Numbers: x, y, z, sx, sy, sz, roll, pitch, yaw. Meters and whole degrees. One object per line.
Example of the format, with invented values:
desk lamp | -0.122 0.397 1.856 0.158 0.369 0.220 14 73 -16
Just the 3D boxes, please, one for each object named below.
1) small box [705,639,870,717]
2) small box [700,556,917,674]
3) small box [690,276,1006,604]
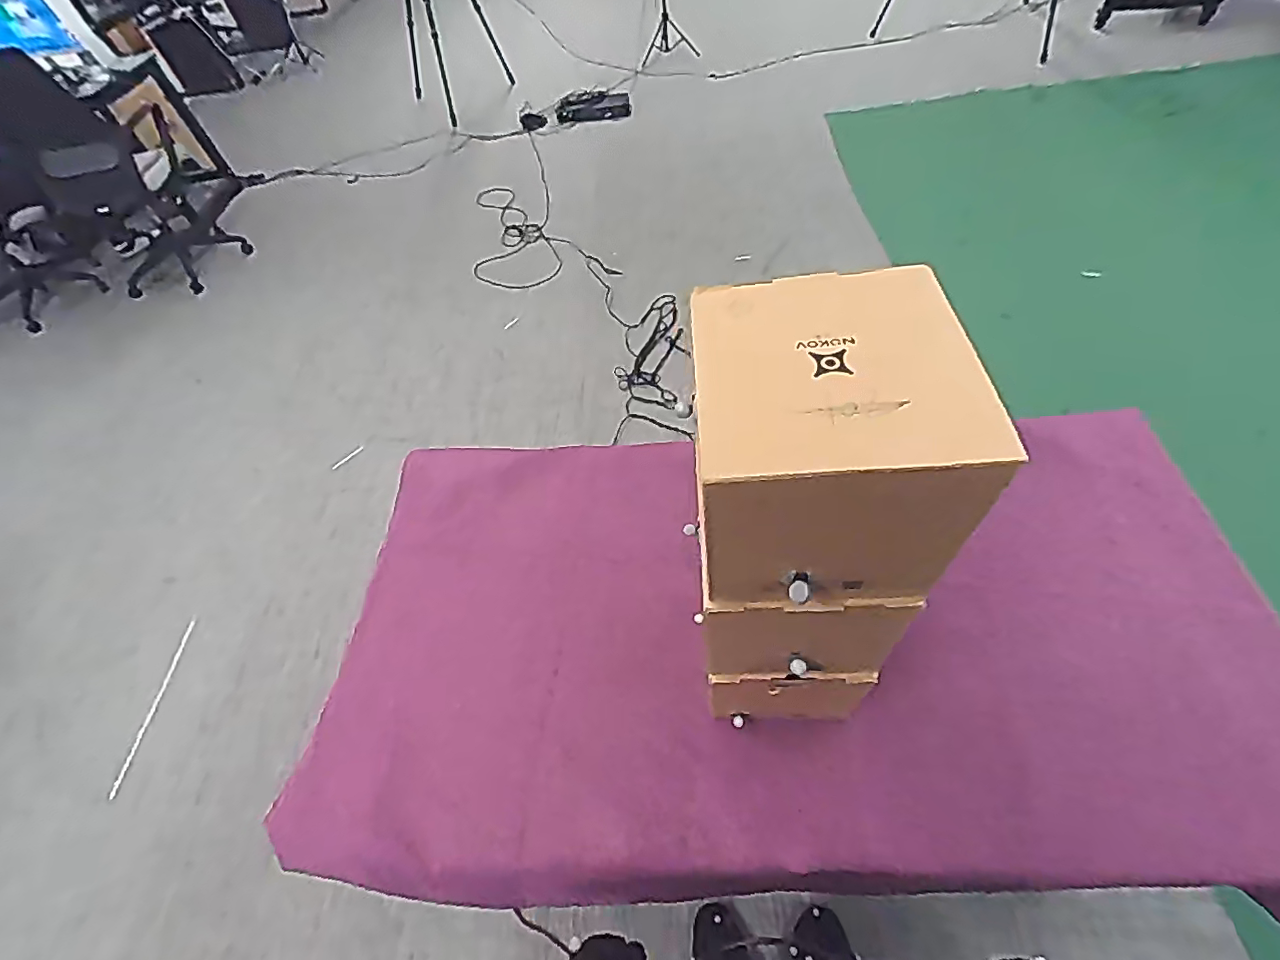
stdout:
small box | 0.163 0.180 0.657 0.168 0.176 0.179 -3 53 7
small box | 0.142 0.077 0.531 0.168 0.176 0.179 -3 54 7
small box | 0.123 -0.024 0.403 0.168 0.176 0.179 -3 53 7
